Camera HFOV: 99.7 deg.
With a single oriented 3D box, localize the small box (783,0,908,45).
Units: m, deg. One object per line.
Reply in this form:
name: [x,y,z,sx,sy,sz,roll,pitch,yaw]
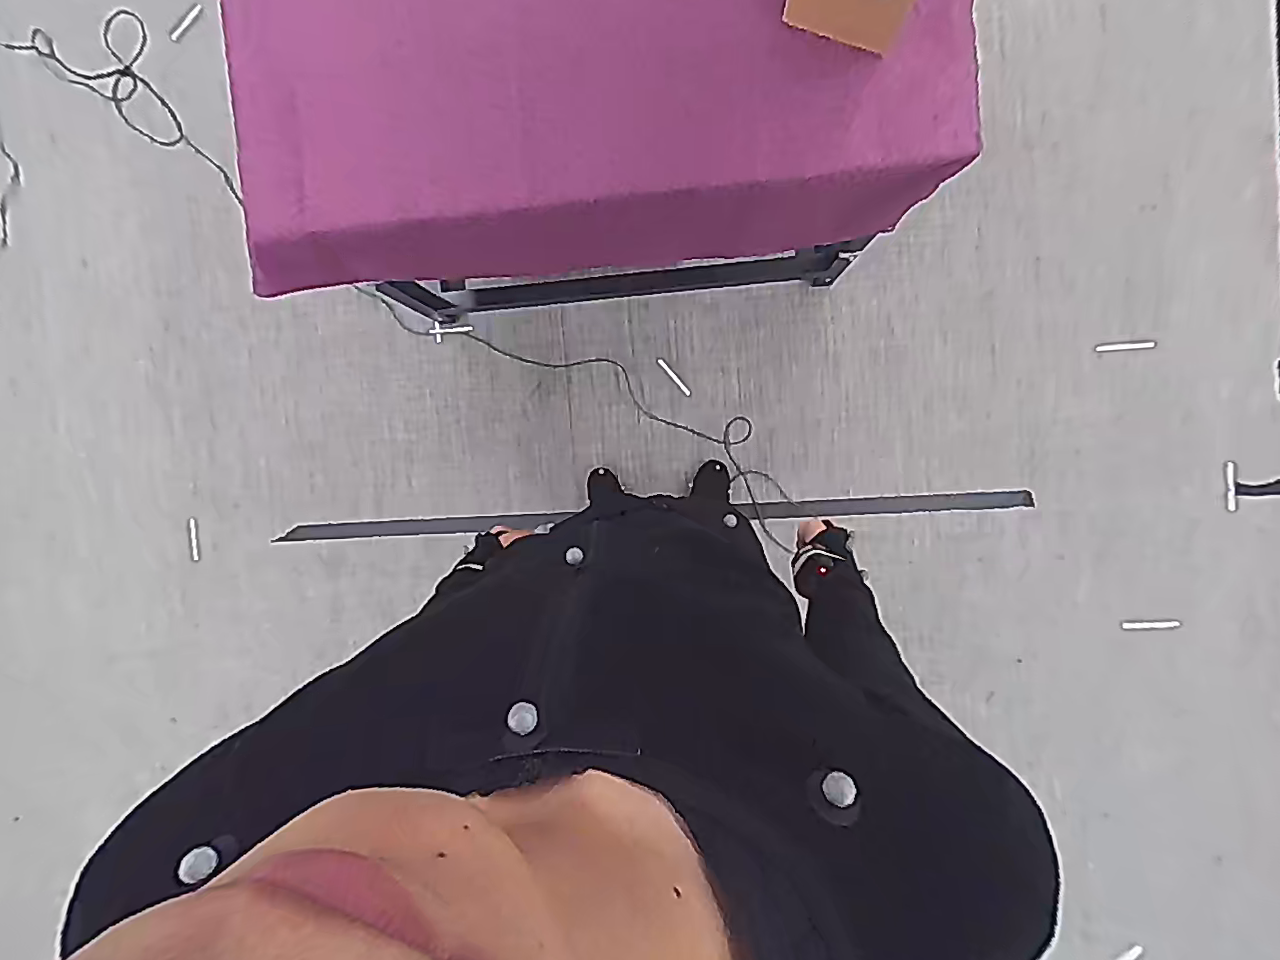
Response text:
small box: [0.323,-0.767,0.758,0.179,0.176,0.168,21,94,3]
